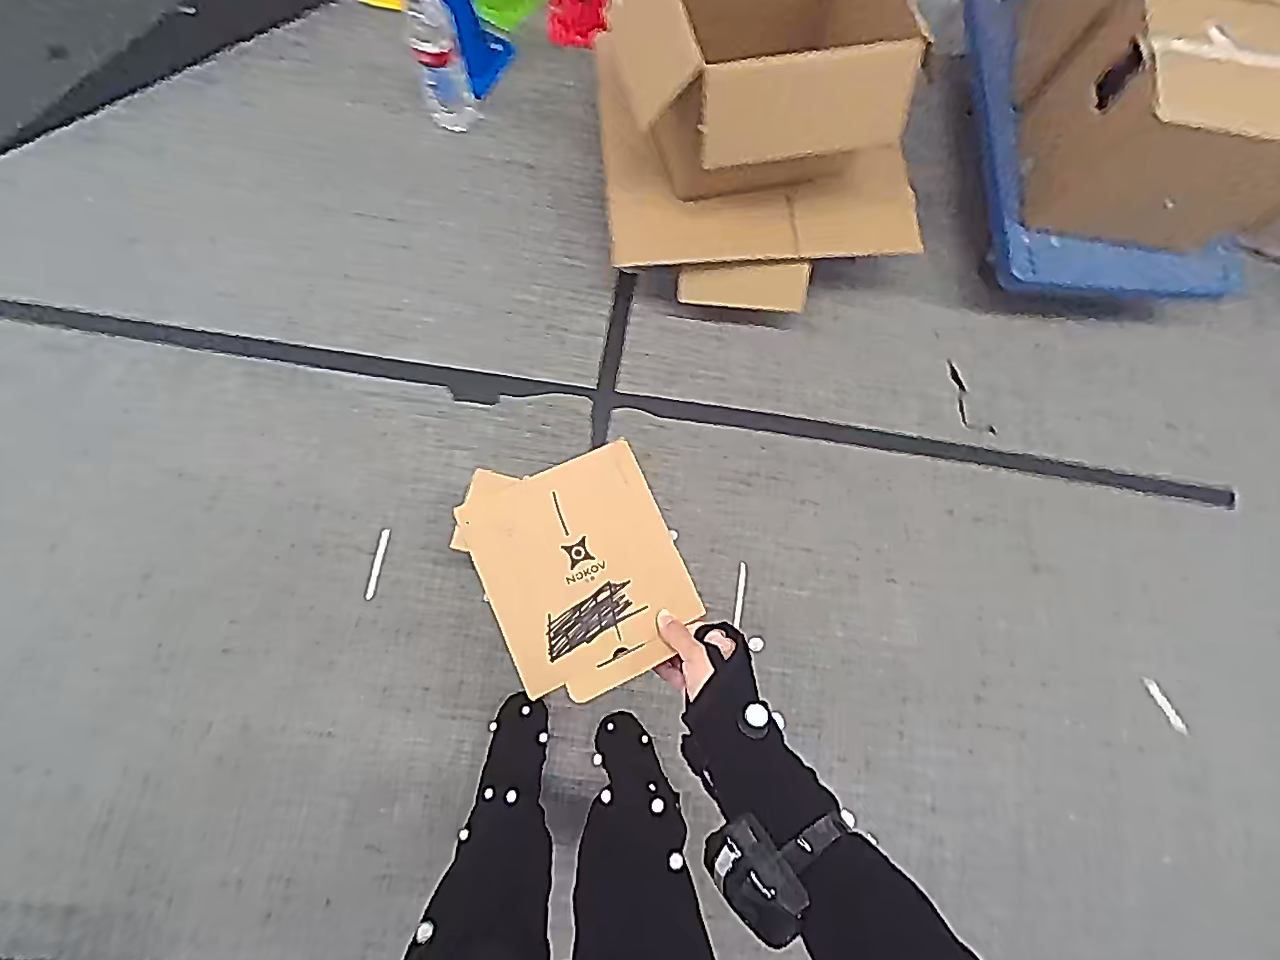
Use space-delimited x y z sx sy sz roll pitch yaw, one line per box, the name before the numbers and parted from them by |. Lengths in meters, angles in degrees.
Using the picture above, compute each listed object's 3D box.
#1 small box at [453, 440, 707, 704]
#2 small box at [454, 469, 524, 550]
small box | -0.057 0.086 0.531 0.168 0.176 0.179 -24 83 -11
small box | -0.259 0.092 1.132 0.179 0.176 0.168 15 78 -1
